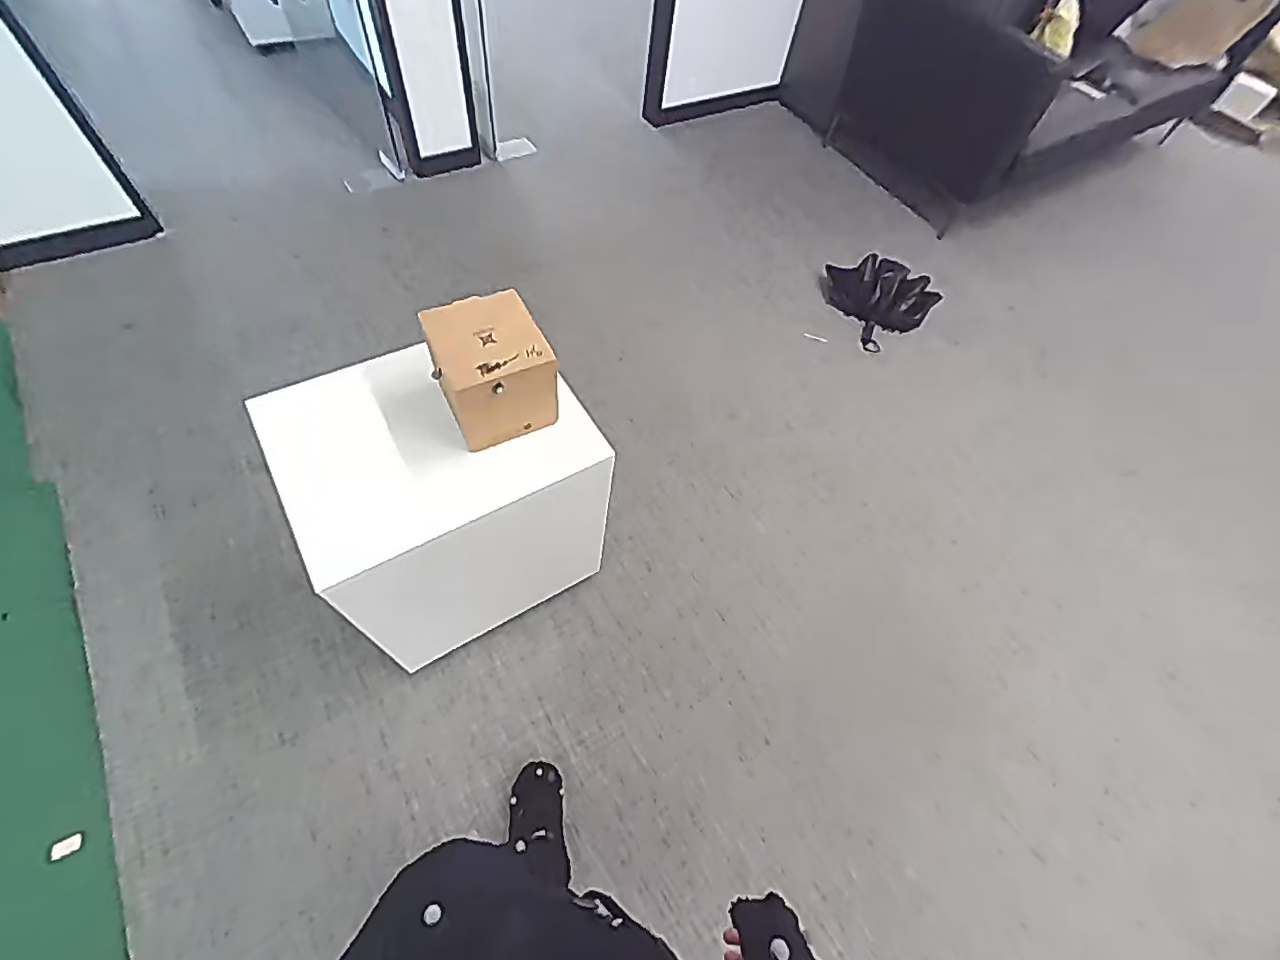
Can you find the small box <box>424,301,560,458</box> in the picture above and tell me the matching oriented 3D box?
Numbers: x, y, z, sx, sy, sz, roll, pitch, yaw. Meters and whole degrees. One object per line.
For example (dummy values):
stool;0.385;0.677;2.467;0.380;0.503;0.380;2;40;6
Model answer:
small box;-0.248;-0.169;0.928;0.168;0.176;0.179;-23;63;-19
